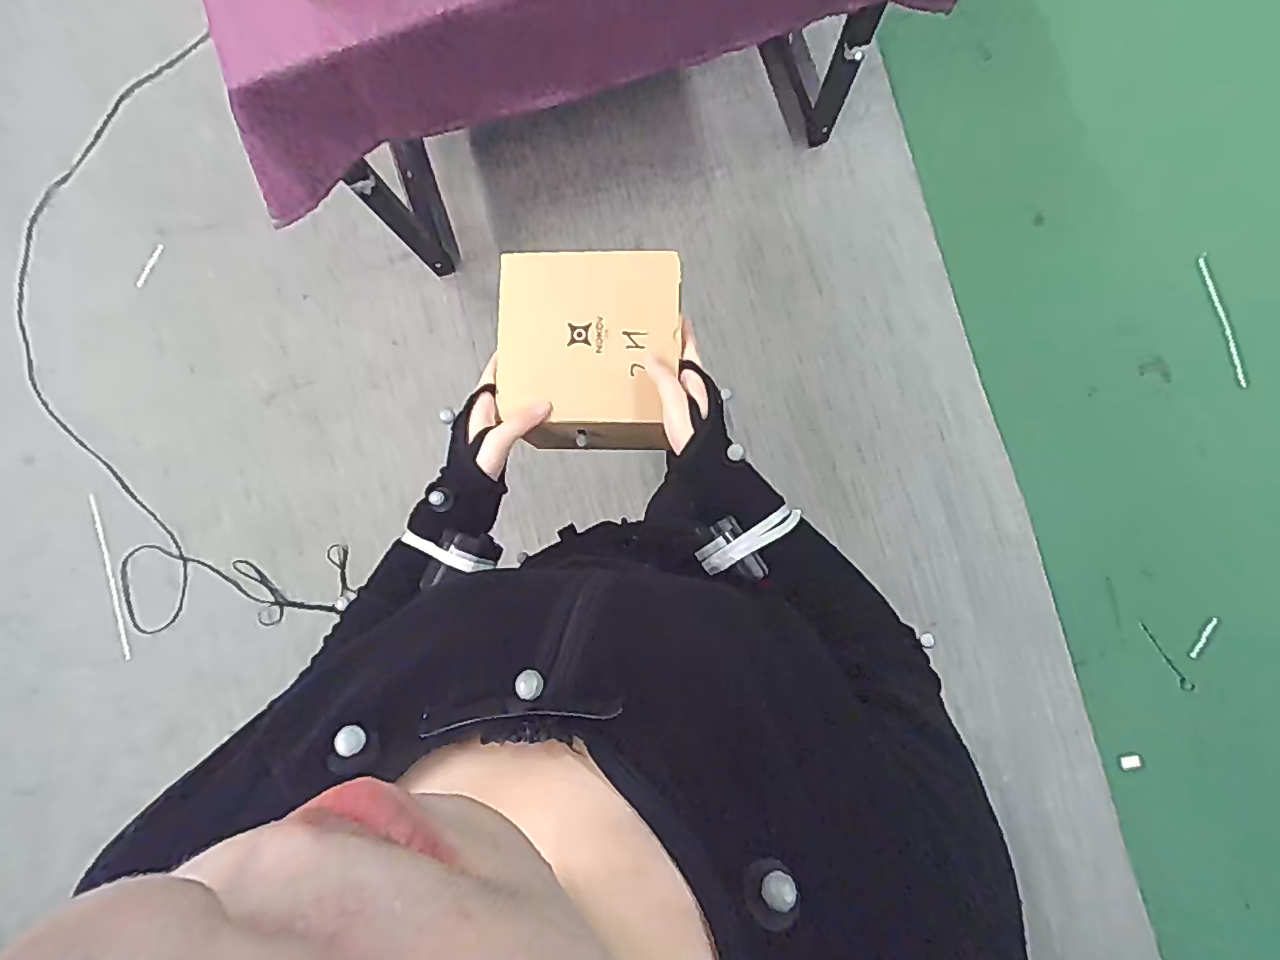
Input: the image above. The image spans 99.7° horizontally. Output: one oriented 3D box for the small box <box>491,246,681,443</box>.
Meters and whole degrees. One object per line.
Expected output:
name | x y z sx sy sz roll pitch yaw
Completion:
small box | -0.046 -0.134 0.589 0.179 0.176 0.168 2 85 4
